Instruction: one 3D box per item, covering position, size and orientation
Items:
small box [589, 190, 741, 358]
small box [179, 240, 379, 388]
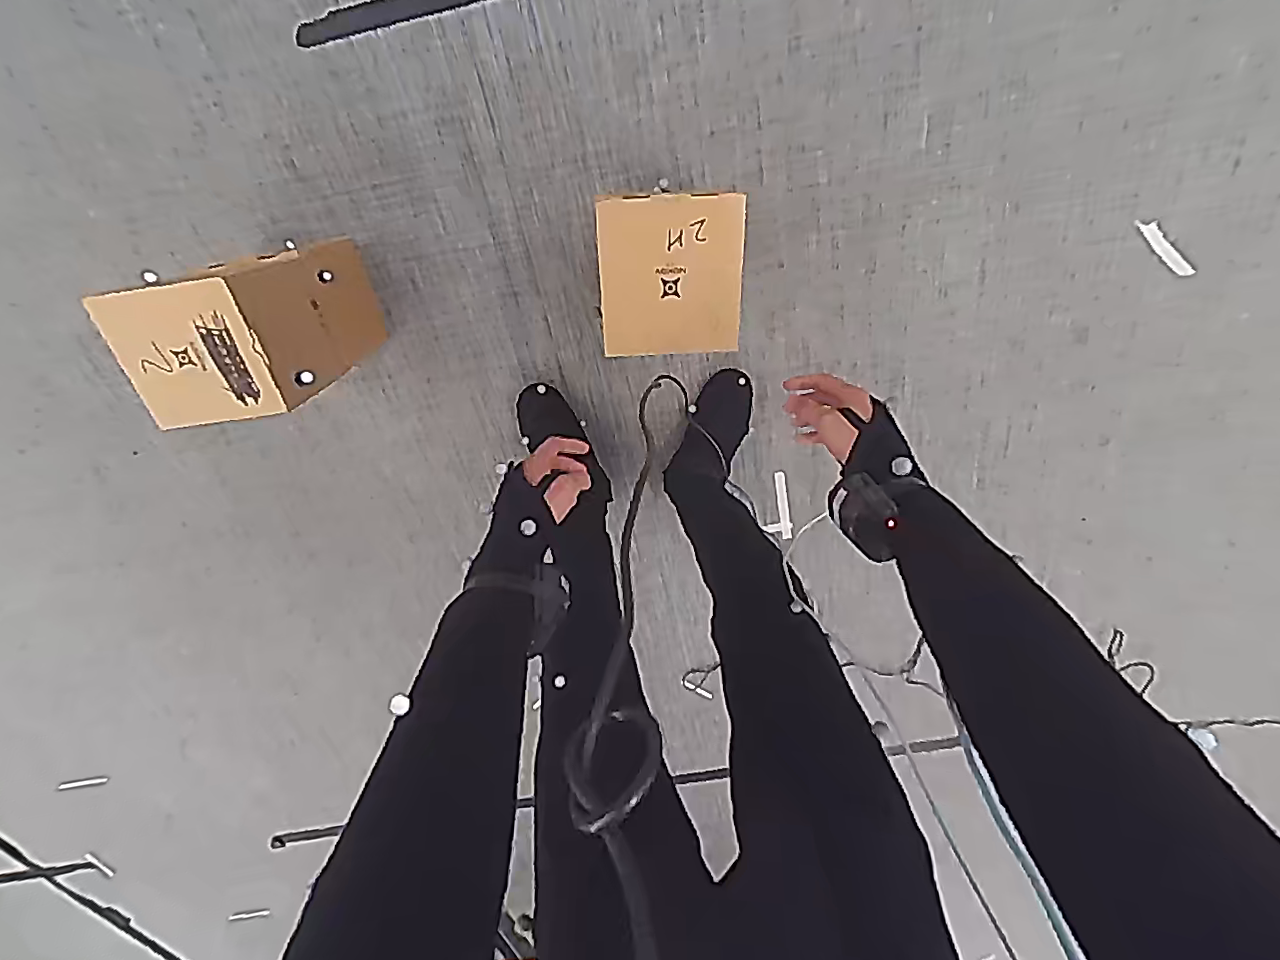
[{"bbox_3d":[0.025,-0.265,0.684,0.168,0.176,0.179,-3,119,-2],"label":"small box"},{"bbox_3d":[-0.543,-0.264,0.849,0.168,0.176,0.179,-9,118,3],"label":"small box"}]
